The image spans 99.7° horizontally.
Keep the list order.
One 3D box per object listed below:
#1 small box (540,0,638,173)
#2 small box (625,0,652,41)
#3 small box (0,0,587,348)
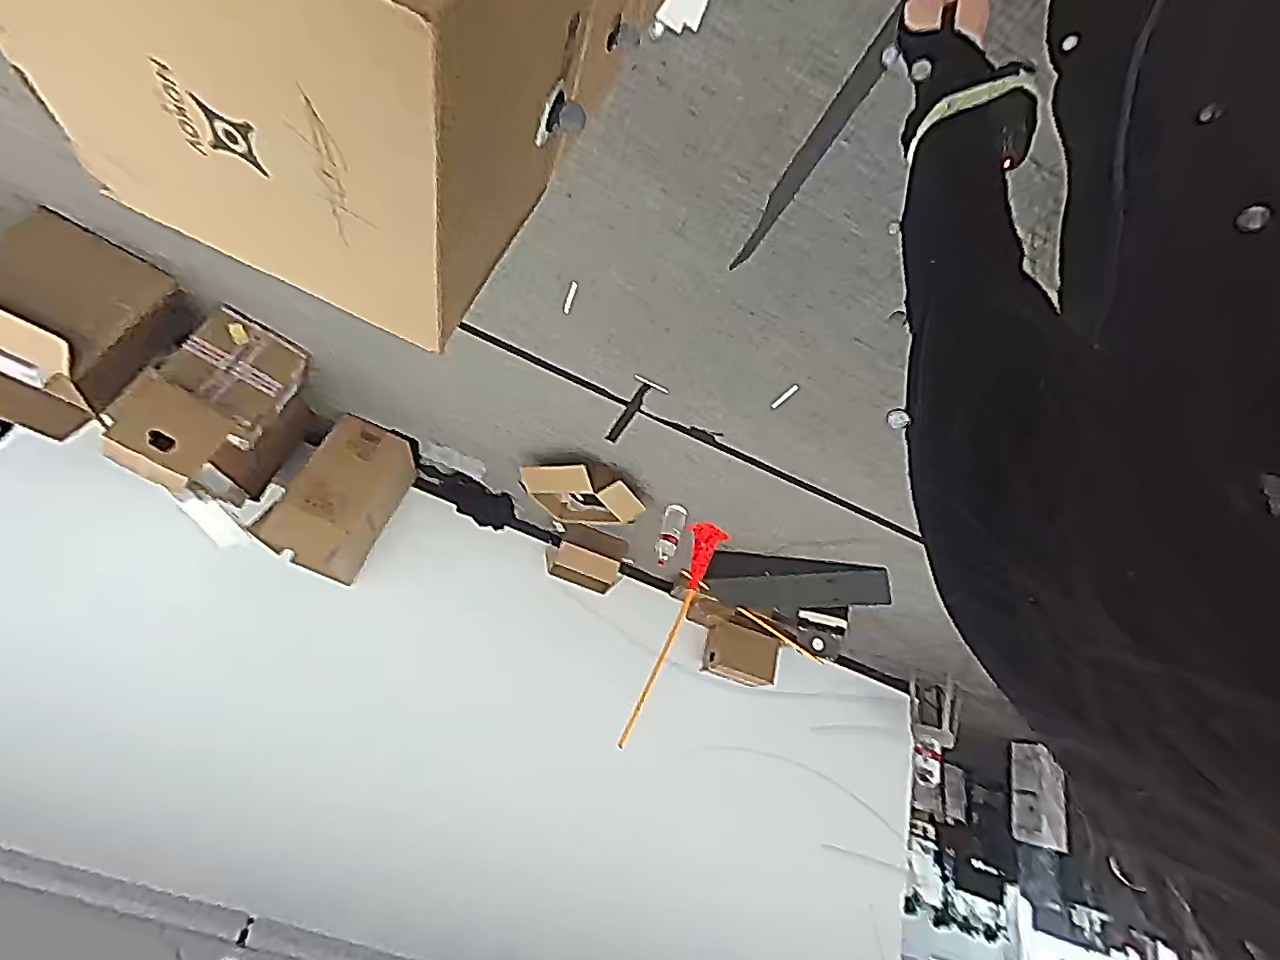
[{"bbox_3d":[-0.086,-0.336,0.316,0.179,0.176,0.168,25,153,-9],"label":"small box"},{"bbox_3d":[-0.038,-0.474,0.389,0.179,0.176,0.168,26,153,-10],"label":"small box"},{"bbox_3d":[-0.136,-0.201,0.242,0.179,0.176,0.168,24,154,-9],"label":"small box"}]
